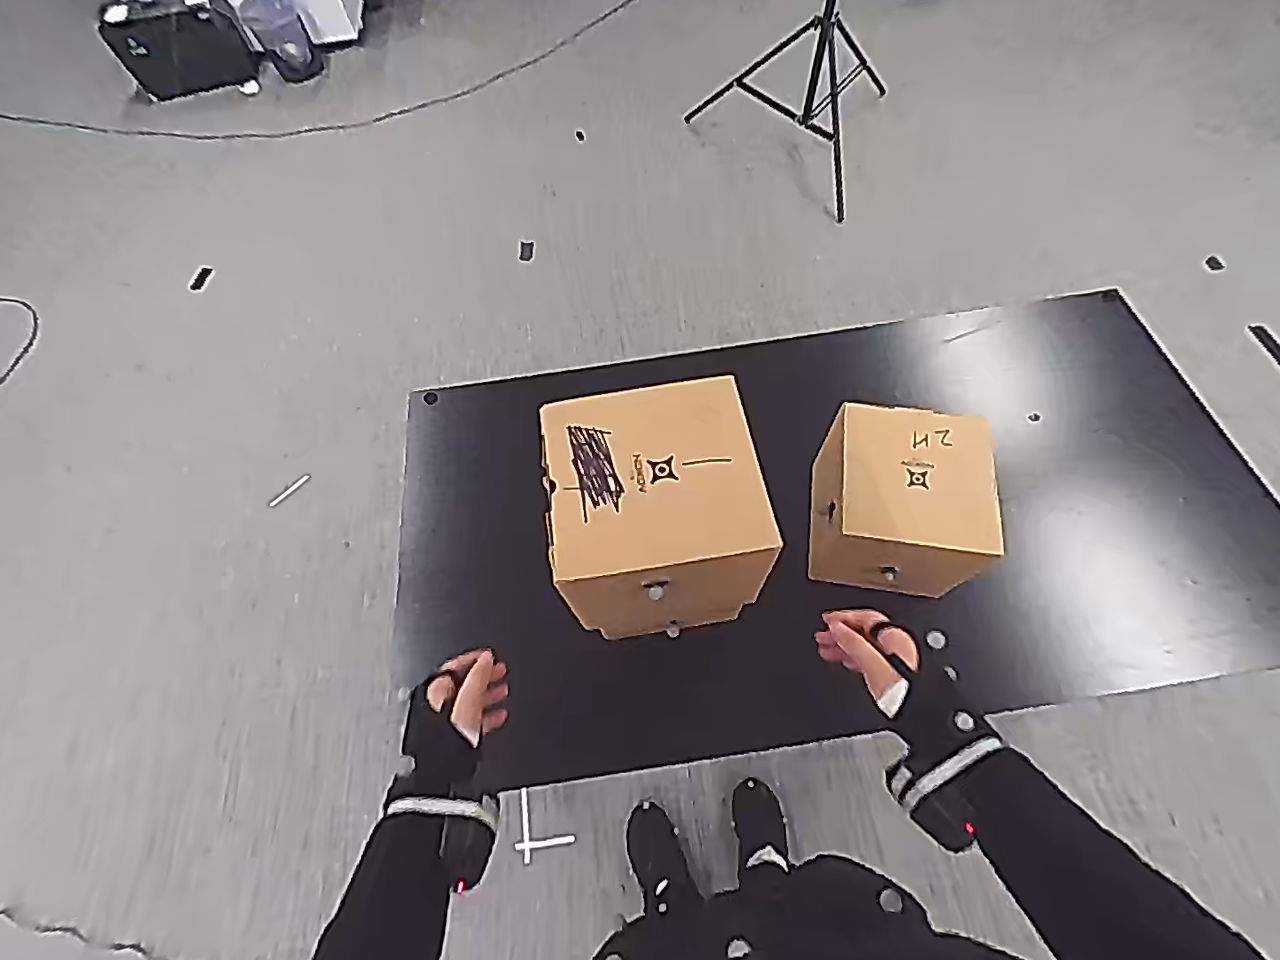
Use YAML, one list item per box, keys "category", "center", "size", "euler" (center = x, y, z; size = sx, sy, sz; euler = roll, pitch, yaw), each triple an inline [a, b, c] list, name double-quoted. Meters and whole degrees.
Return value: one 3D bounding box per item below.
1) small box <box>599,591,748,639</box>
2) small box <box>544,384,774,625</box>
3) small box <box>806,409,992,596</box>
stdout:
- category: "small box"
  center: [0.024, 0.092, 0.679]
  size: [0.179, 0.176, 0.168]
  euler: [-9, 62, -2]
- category: "small box"
  center: [0.014, 0.033, 0.523]
  size: [0.179, 0.176, 0.168]
  euler: [-9, 63, -1]
- category: "small box"
  center: [0.314, 0.036, 0.689]
  size: [0.168, 0.176, 0.179]
  euler: [8, 63, 8]
